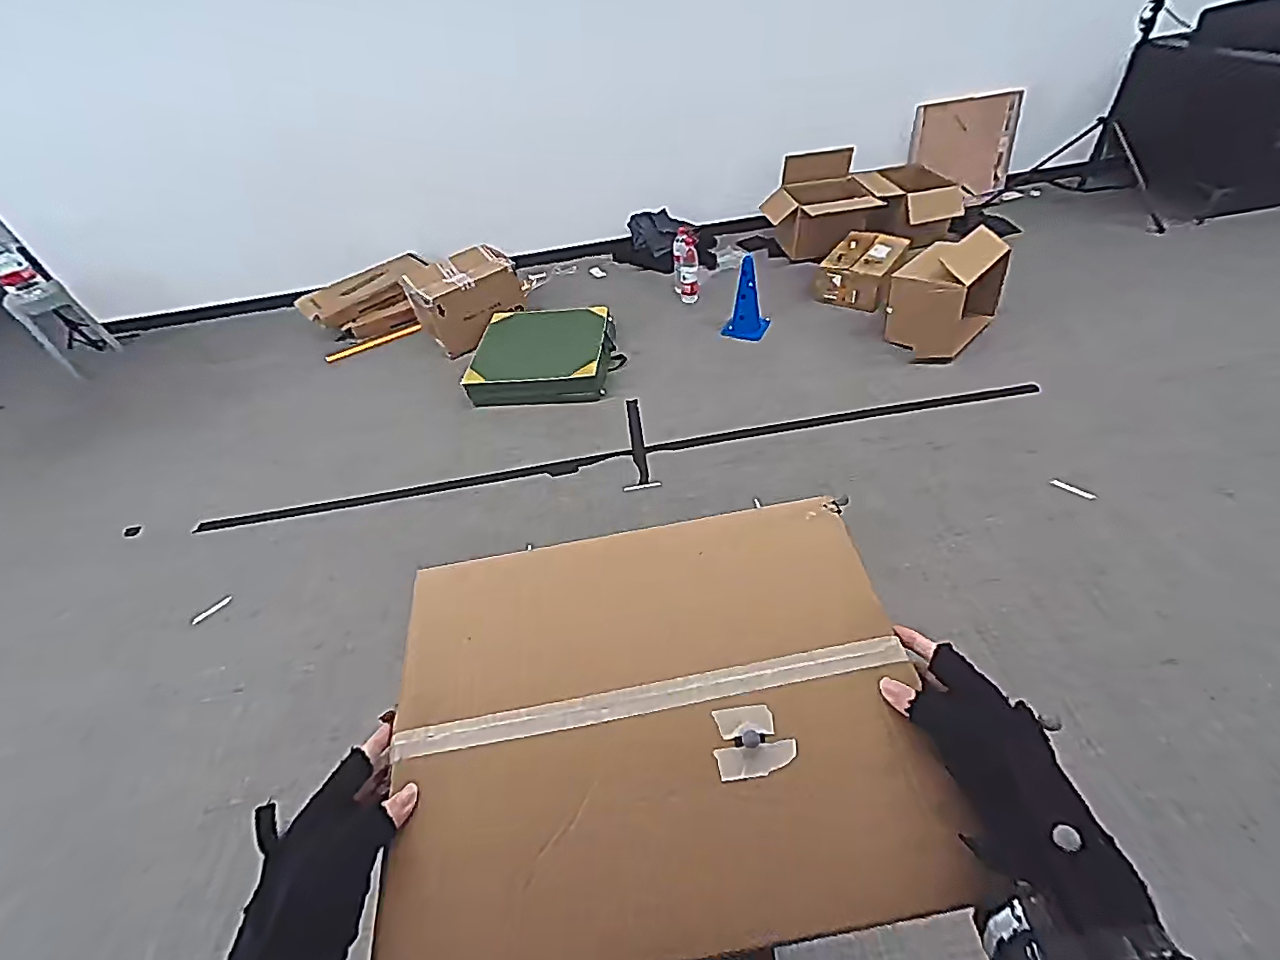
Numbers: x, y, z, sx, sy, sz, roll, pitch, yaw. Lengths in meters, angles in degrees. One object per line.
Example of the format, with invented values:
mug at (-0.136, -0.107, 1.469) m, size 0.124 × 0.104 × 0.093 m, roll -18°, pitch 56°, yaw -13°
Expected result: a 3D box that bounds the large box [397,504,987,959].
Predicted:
large box at (0.026, 0.269, 0.557) m, size 0.408 × 0.320 × 0.320 m, roll -10°, pitch 52°, yaw -1°
